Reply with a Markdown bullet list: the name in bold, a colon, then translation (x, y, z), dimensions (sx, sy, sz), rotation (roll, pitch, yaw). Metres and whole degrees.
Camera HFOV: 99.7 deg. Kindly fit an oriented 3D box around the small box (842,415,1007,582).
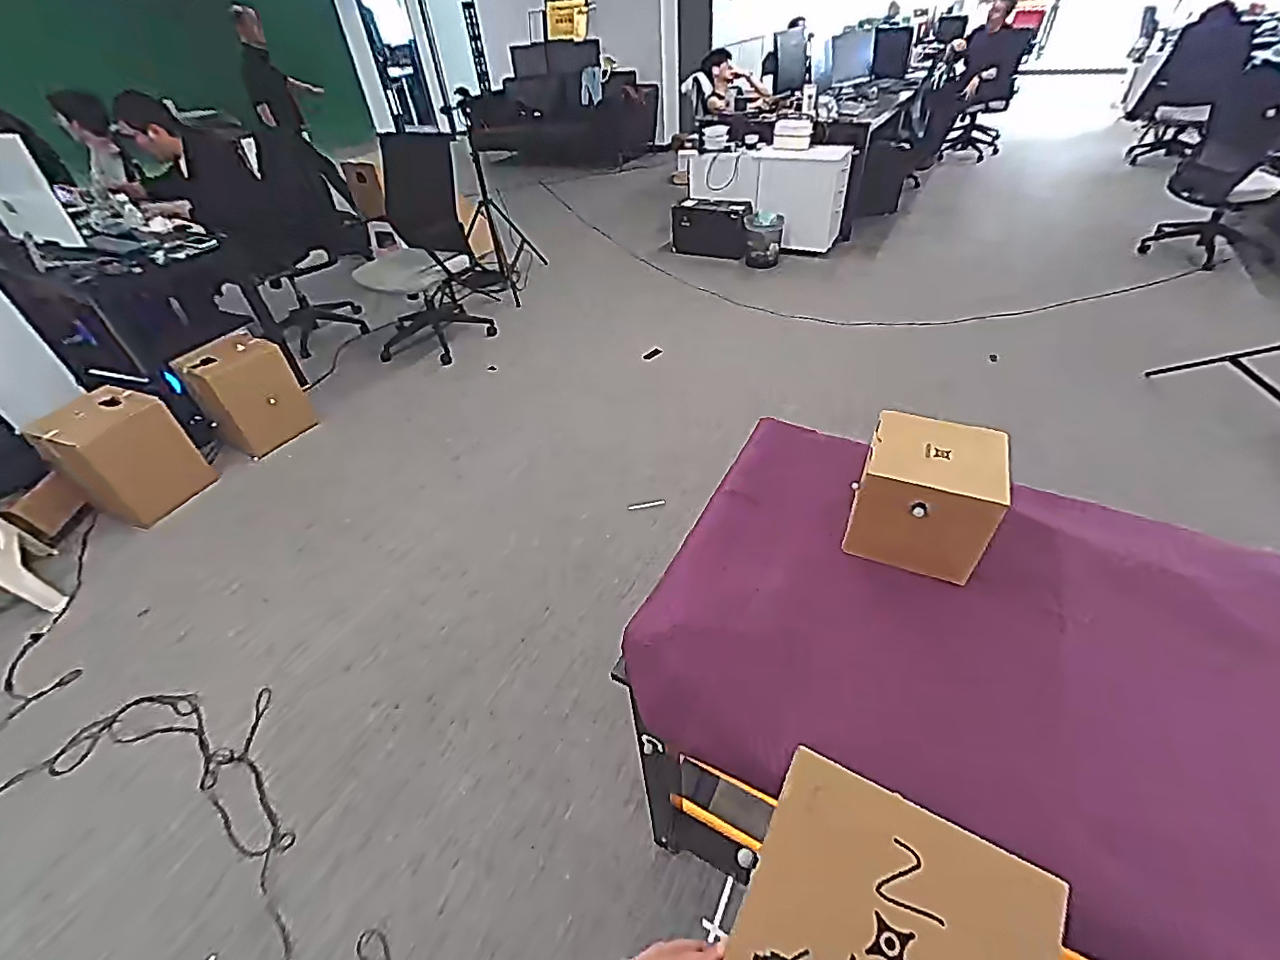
- **small box**: translation (0.424, 0.029, 0.818), dimensions (0.179, 0.176, 0.168), rotation (15, 45, 21)
